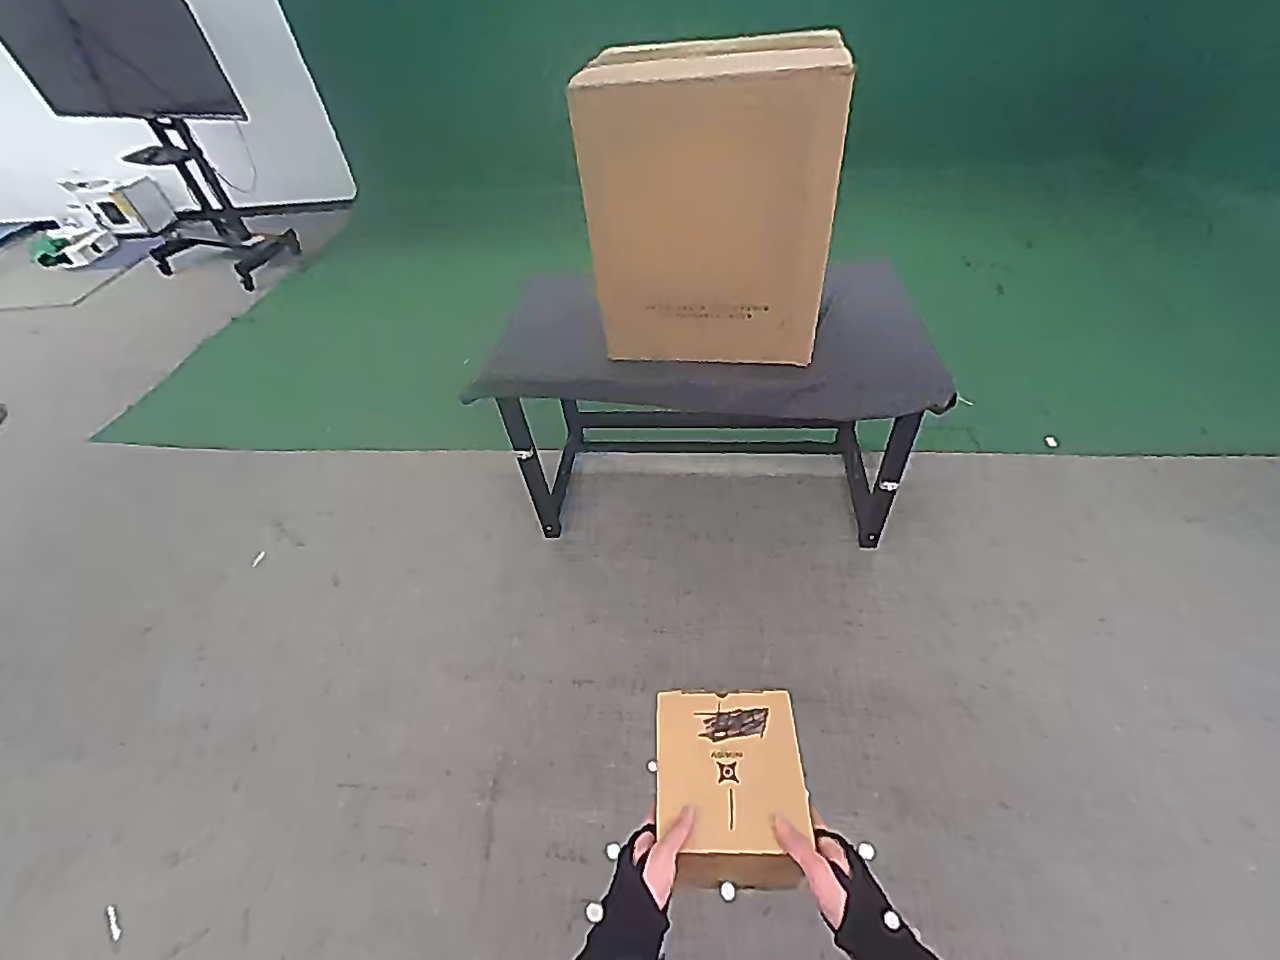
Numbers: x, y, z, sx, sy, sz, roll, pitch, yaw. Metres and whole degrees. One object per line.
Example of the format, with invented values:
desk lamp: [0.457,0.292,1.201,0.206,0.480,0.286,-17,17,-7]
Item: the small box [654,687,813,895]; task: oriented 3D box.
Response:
small box: [0.107,0.381,0.667,0.168,0.176,0.179,-1,43,7]
